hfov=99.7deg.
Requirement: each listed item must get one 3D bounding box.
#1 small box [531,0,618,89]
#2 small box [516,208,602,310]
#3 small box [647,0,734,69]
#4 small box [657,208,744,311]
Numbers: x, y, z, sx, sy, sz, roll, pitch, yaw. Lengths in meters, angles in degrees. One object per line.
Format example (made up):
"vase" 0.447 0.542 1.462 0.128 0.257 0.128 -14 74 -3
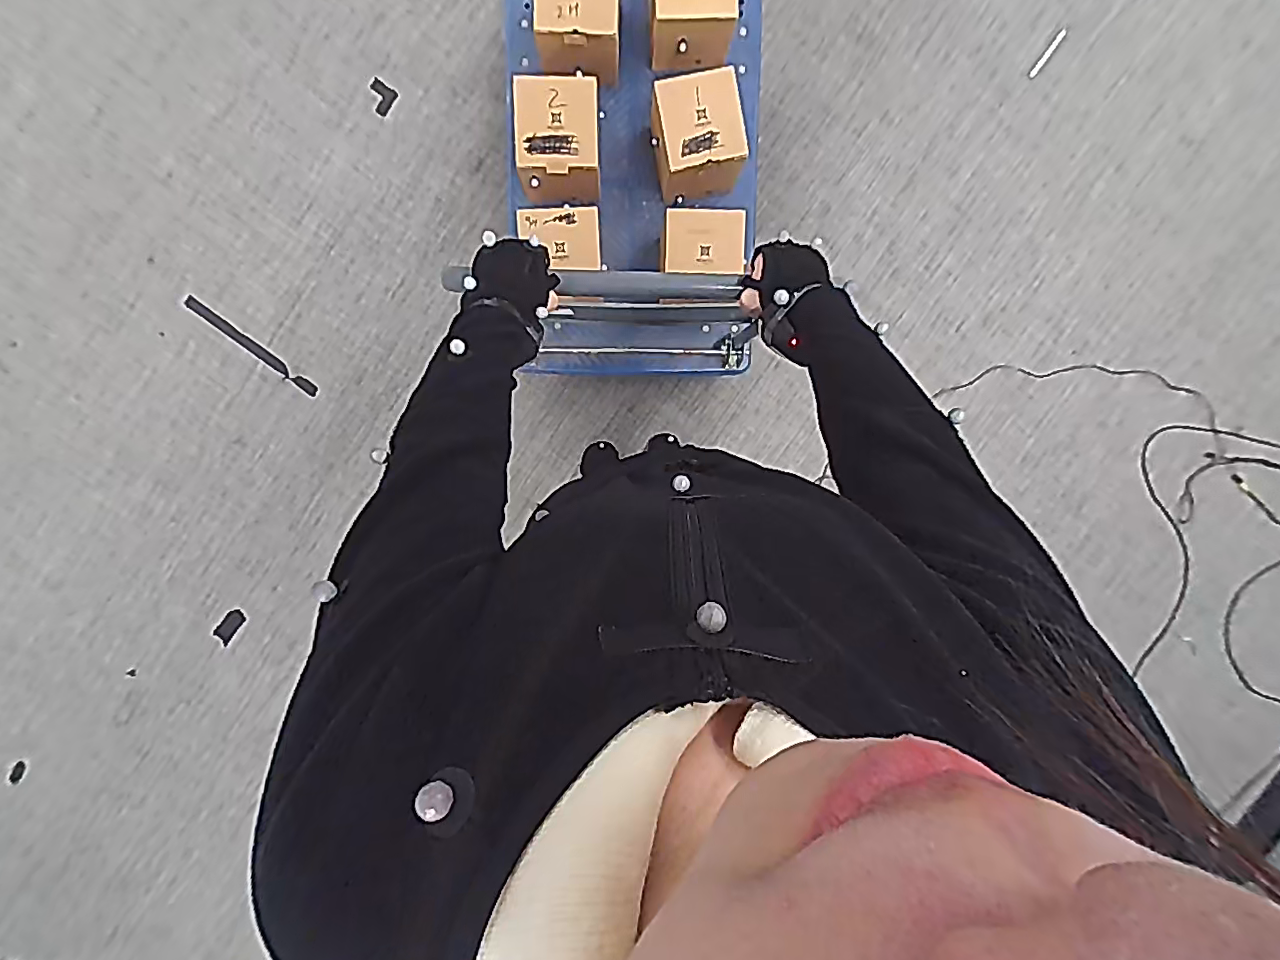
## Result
"small box" -0.132 -0.968 1.132 0.168 0.176 0.179 2 97 -2
"small box" -0.170 -0.473 1.183 0.168 0.176 0.179 -3 97 -3
"small box" 0.101 -1.005 1.139 0.168 0.176 0.179 -3 96 -2
"small box" 0.128 -0.478 1.197 0.168 0.176 0.179 1 95 -3
